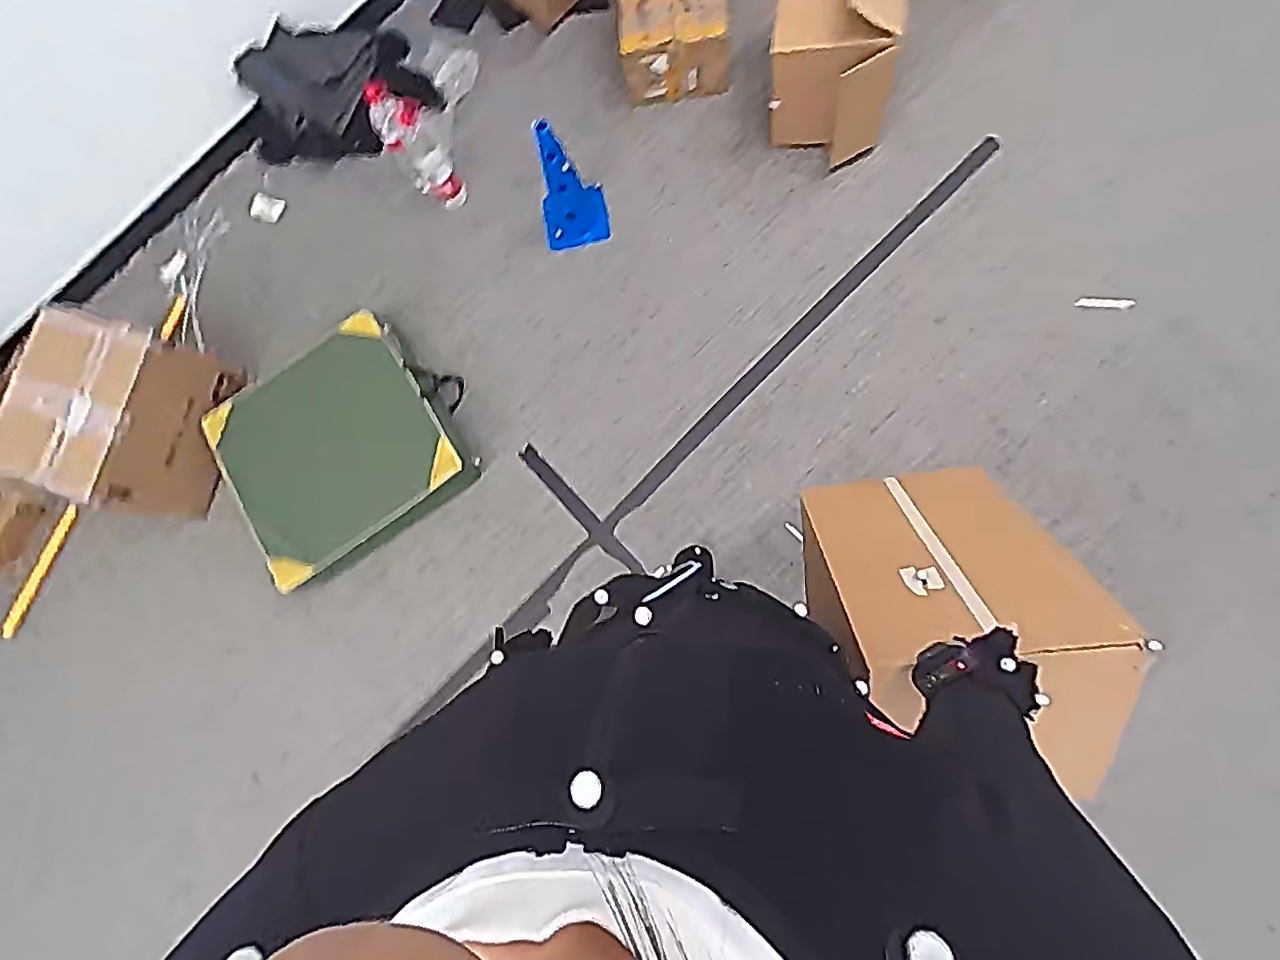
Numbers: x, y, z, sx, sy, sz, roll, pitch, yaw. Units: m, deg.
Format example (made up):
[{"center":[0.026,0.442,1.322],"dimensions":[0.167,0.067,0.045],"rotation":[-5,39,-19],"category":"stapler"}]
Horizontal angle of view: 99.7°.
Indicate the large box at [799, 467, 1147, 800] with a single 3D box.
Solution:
[{"center":[0.457,0.228,0.868],"dimensions":[0.320,0.408,0.320],"rotation":[-9,122,10],"category":"large box"}]
